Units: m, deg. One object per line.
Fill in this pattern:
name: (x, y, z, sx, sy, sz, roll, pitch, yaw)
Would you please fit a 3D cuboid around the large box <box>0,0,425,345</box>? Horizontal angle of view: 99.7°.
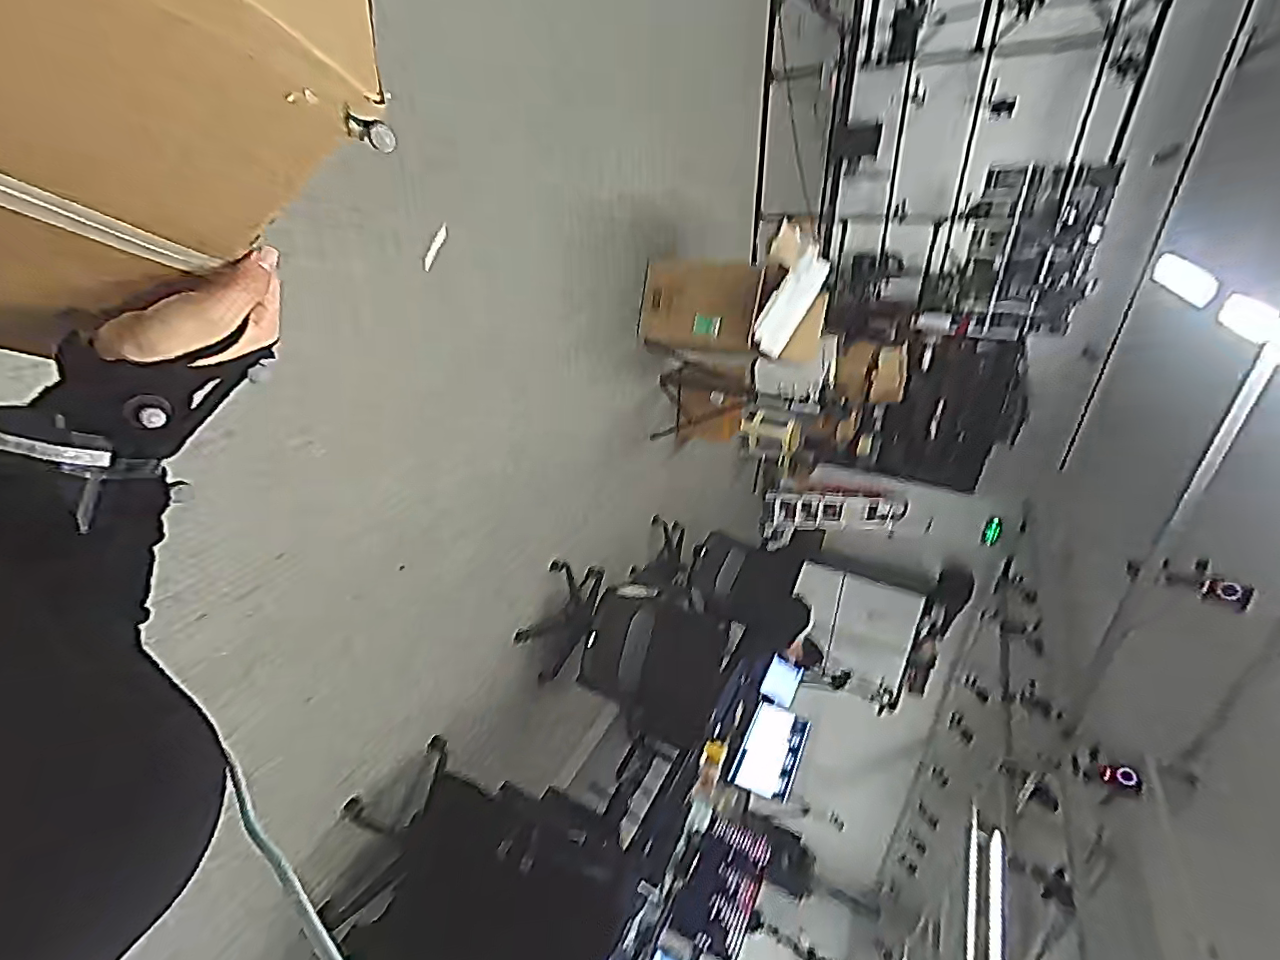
large box: (-0.362, -0.306, 0.191, 0.408, 0.320, 0.320, 11, 62, -58)
